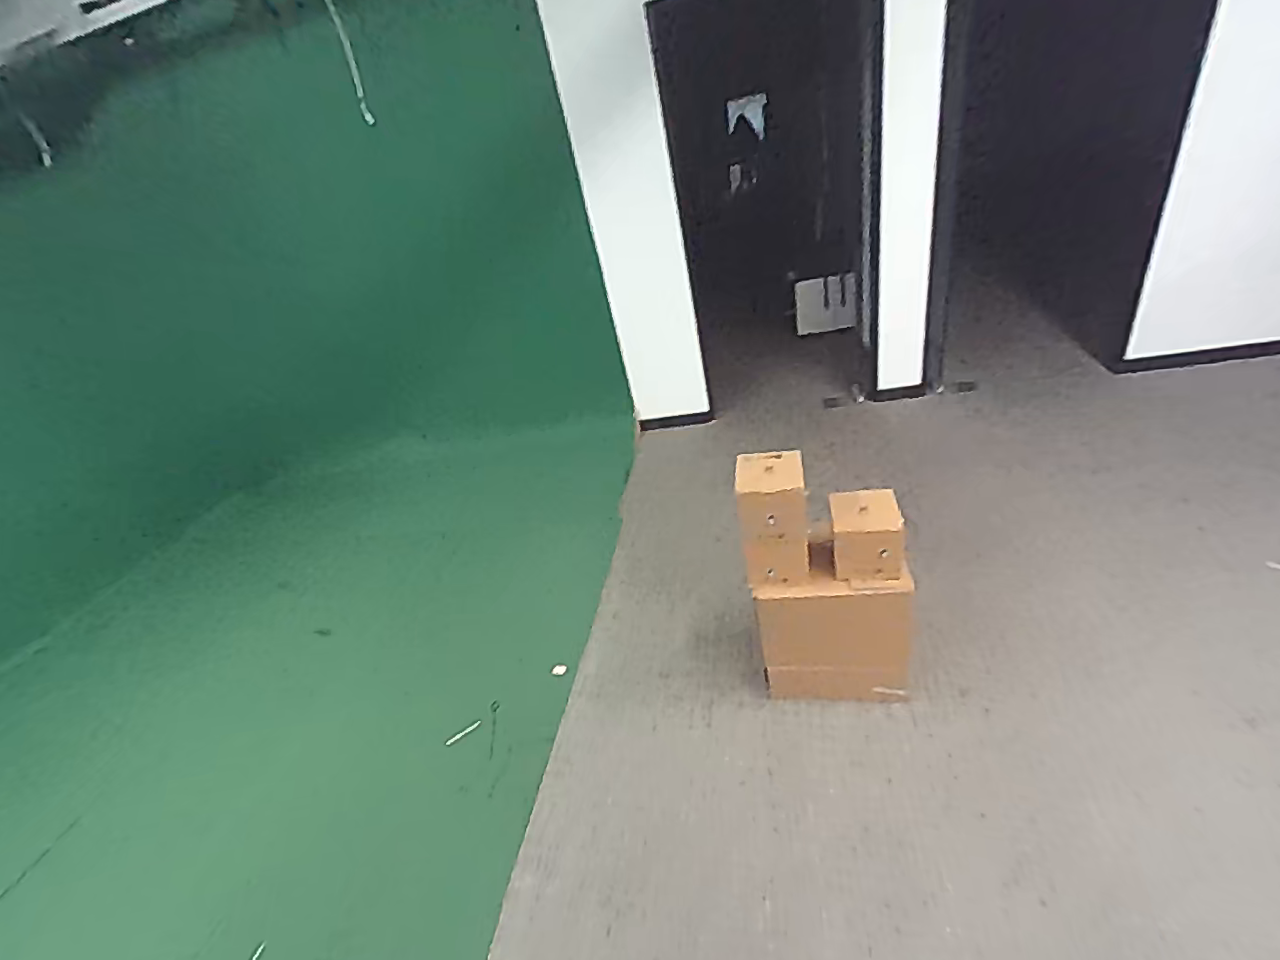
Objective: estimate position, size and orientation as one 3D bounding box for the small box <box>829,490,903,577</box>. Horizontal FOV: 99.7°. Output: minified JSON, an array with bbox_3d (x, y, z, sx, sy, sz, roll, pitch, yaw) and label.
[{"bbox_3d":[0.606,0.149,1.454,0.168,0.176,0.179,-5,32,18],"label":"small box"}]

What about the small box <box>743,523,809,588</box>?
[{"bbox_3d":[0.377,0.181,1.504,0.168,0.176,0.179,-5,34,14],"label":"small box"}]

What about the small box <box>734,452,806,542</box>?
[{"bbox_3d":[0.341,0.049,1.413,0.168,0.176,0.179,-4,35,15],"label":"small box"}]
